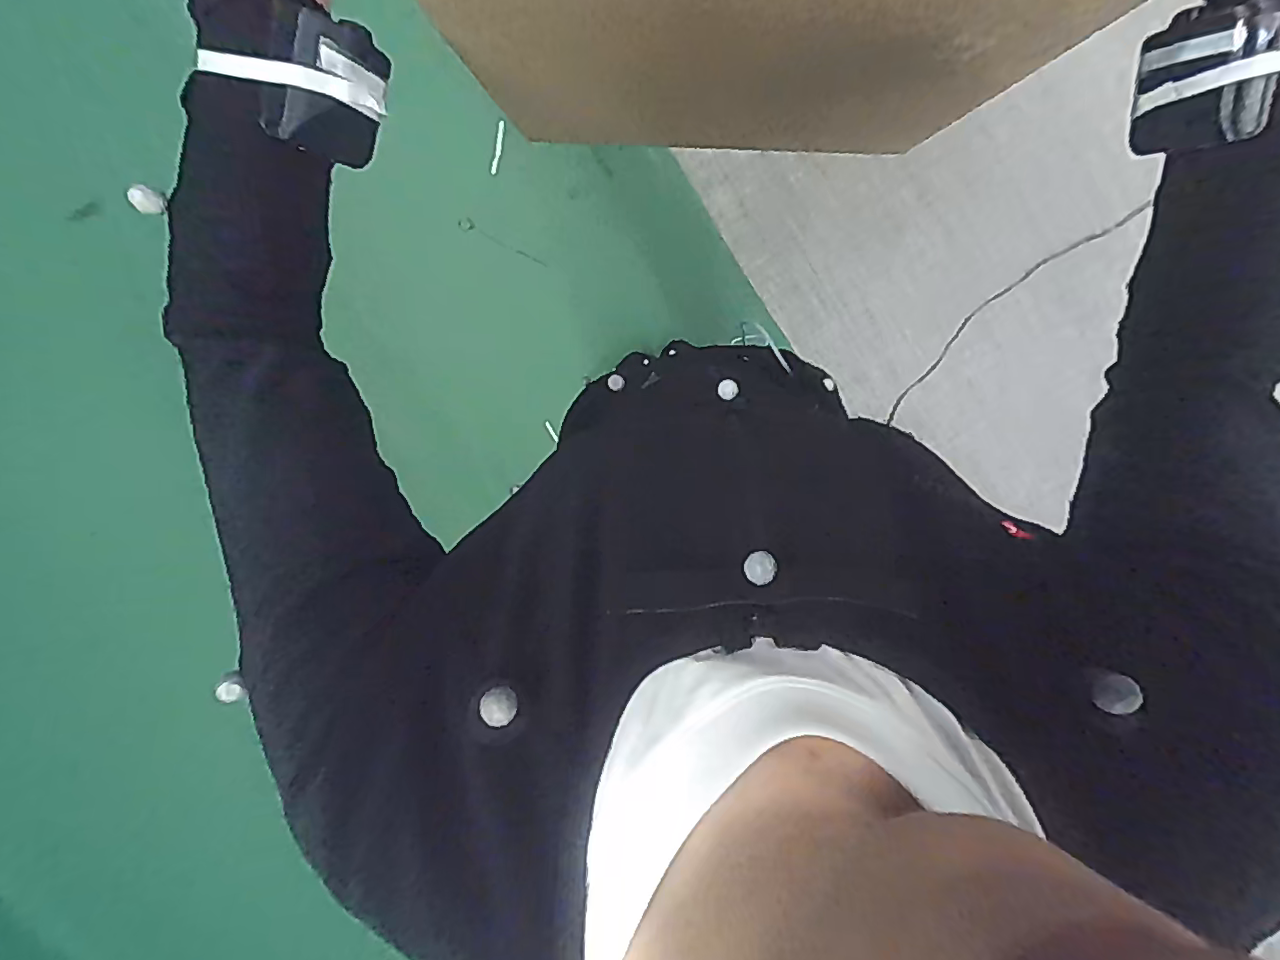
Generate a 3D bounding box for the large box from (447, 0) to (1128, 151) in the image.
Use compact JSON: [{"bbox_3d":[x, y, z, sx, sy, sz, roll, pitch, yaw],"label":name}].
[{"bbox_3d":[0.084,-0.454,0.387,0.408,0.320,0.320,2,108,0],"label":"large box"}]
